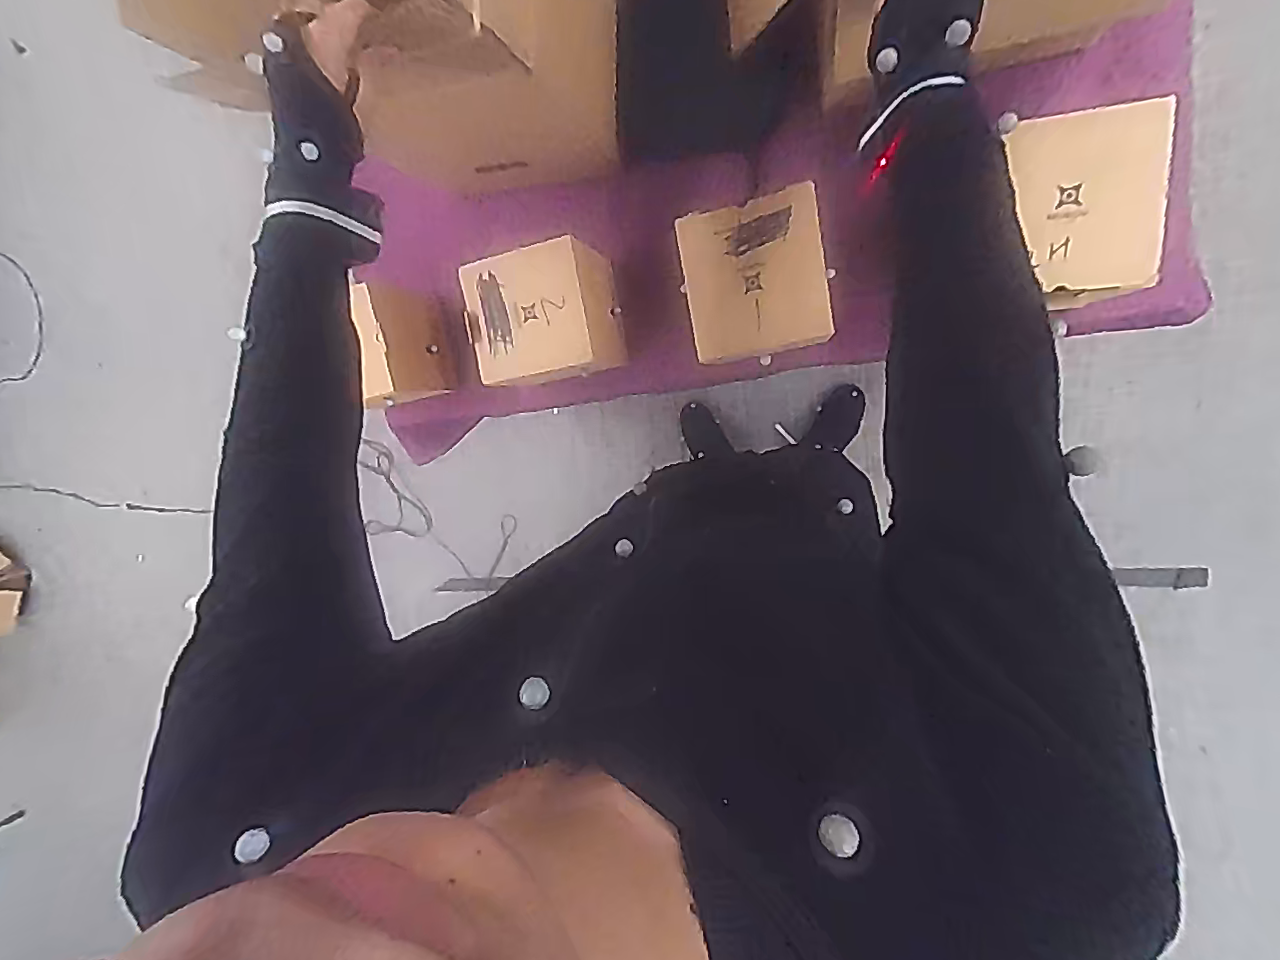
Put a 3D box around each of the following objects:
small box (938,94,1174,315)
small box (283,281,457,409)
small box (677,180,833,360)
[{"bbox_3d":[0.454,-0.296,0.623,0.168,0.176,0.179,0,101,18],"label":"small box"},{"bbox_3d":[-0.441,-0.217,0.906,0.179,0.176,0.168,-9,98,17],"label":"small box"},{"bbox_3d":[0.157,-0.261,0.719,0.168,0.176,0.179,-8,99,18],"label":"small box"}]
